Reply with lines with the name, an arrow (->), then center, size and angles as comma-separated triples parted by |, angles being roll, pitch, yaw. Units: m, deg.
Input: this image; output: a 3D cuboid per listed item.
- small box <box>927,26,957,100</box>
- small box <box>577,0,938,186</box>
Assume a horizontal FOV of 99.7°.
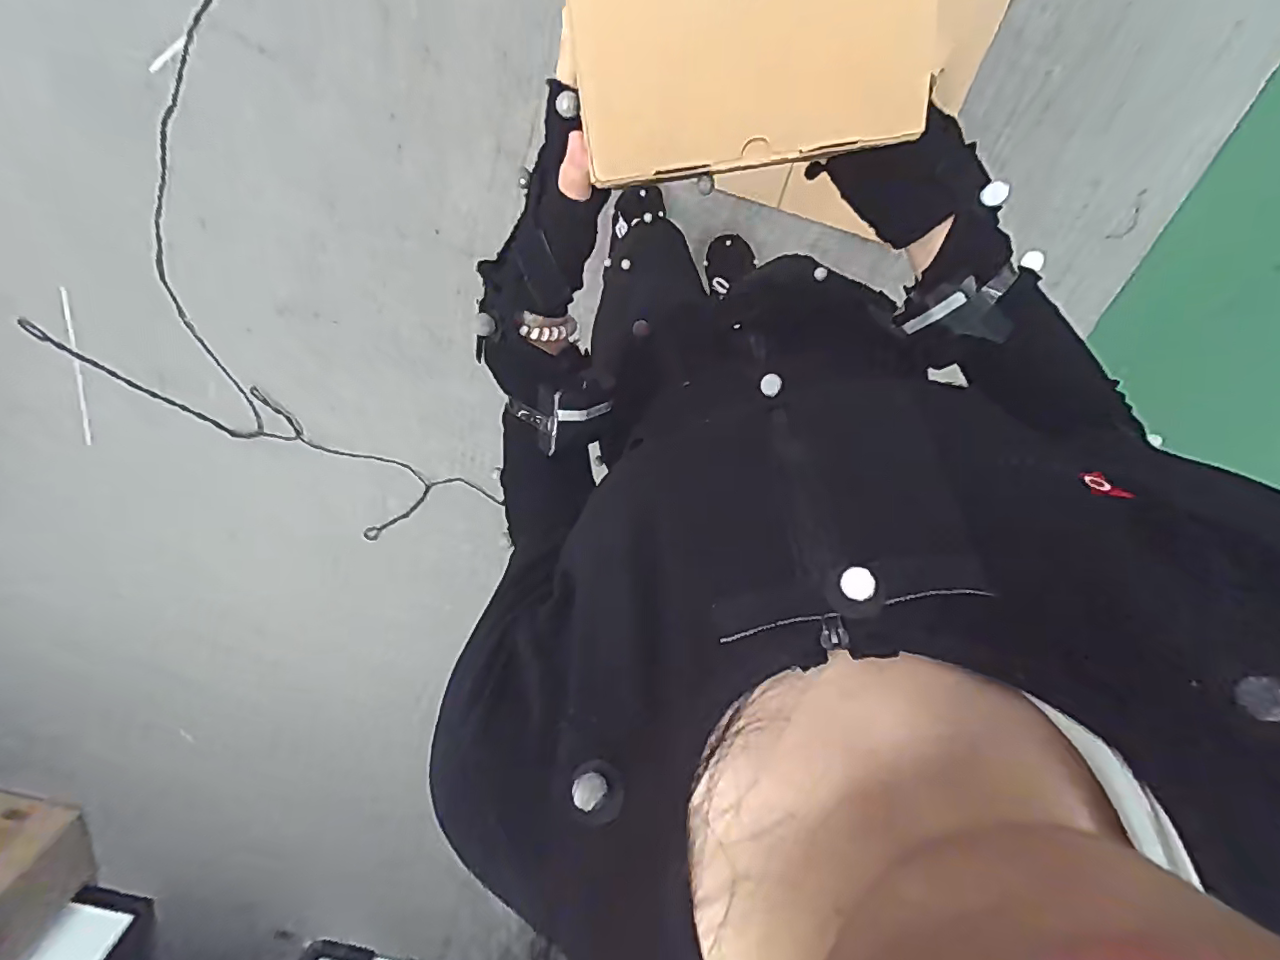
small box -> 0.467, -0.778, 1.061 | 0.168, 0.176, 0.179 | 20, 116, -5
small box -> 0.049, -0.274, 0.304 | 0.168, 0.176, 0.179 | -6, 119, 3
